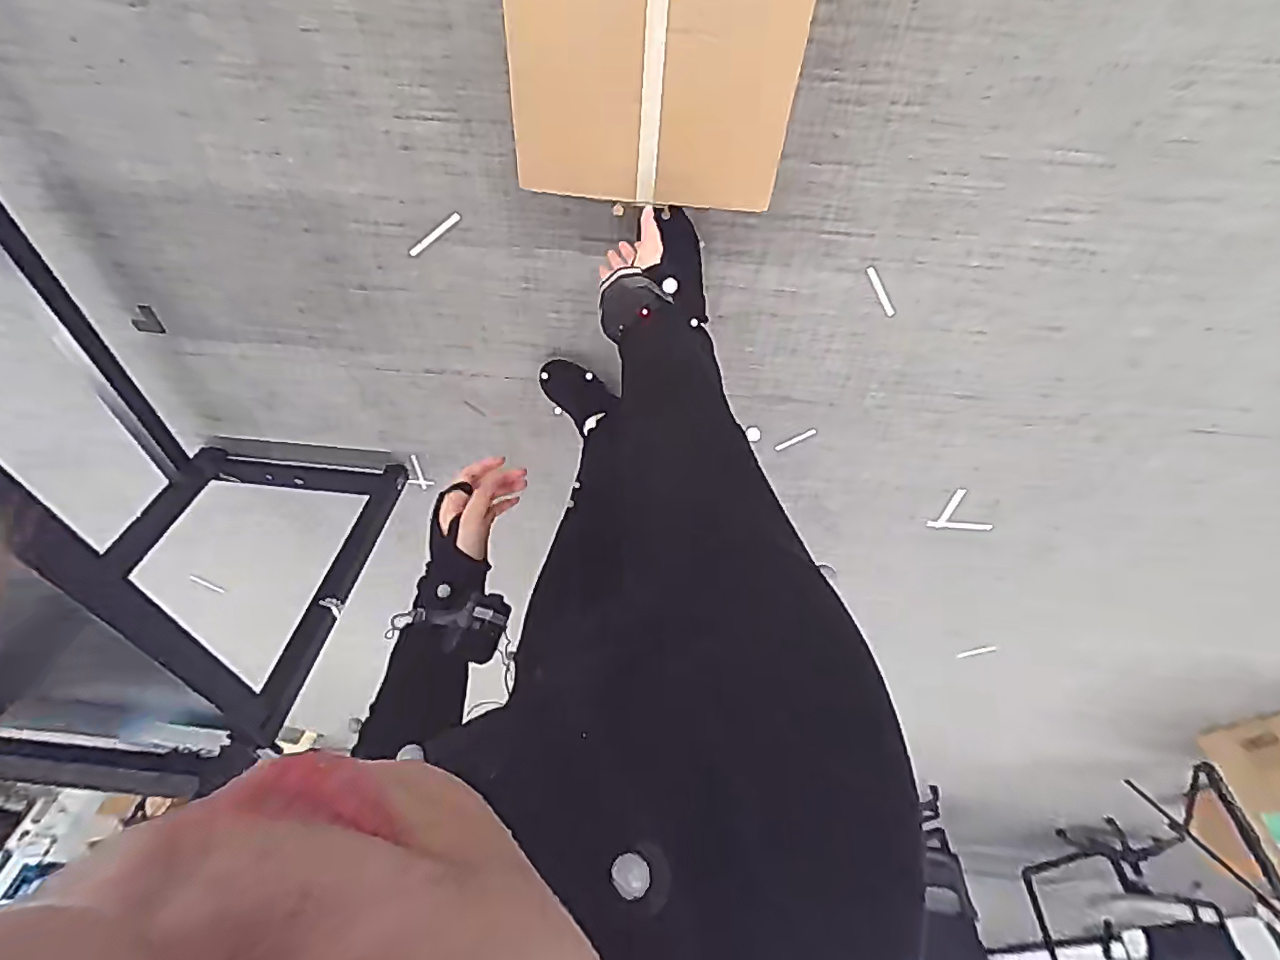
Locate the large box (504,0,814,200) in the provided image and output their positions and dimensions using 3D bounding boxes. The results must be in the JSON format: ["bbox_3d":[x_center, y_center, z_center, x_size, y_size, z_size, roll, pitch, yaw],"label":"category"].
[{"bbox_3d":[0.030,-0.596,0.623,0.320,0.320,0.408,5,136,0],"label":"large box"}]
